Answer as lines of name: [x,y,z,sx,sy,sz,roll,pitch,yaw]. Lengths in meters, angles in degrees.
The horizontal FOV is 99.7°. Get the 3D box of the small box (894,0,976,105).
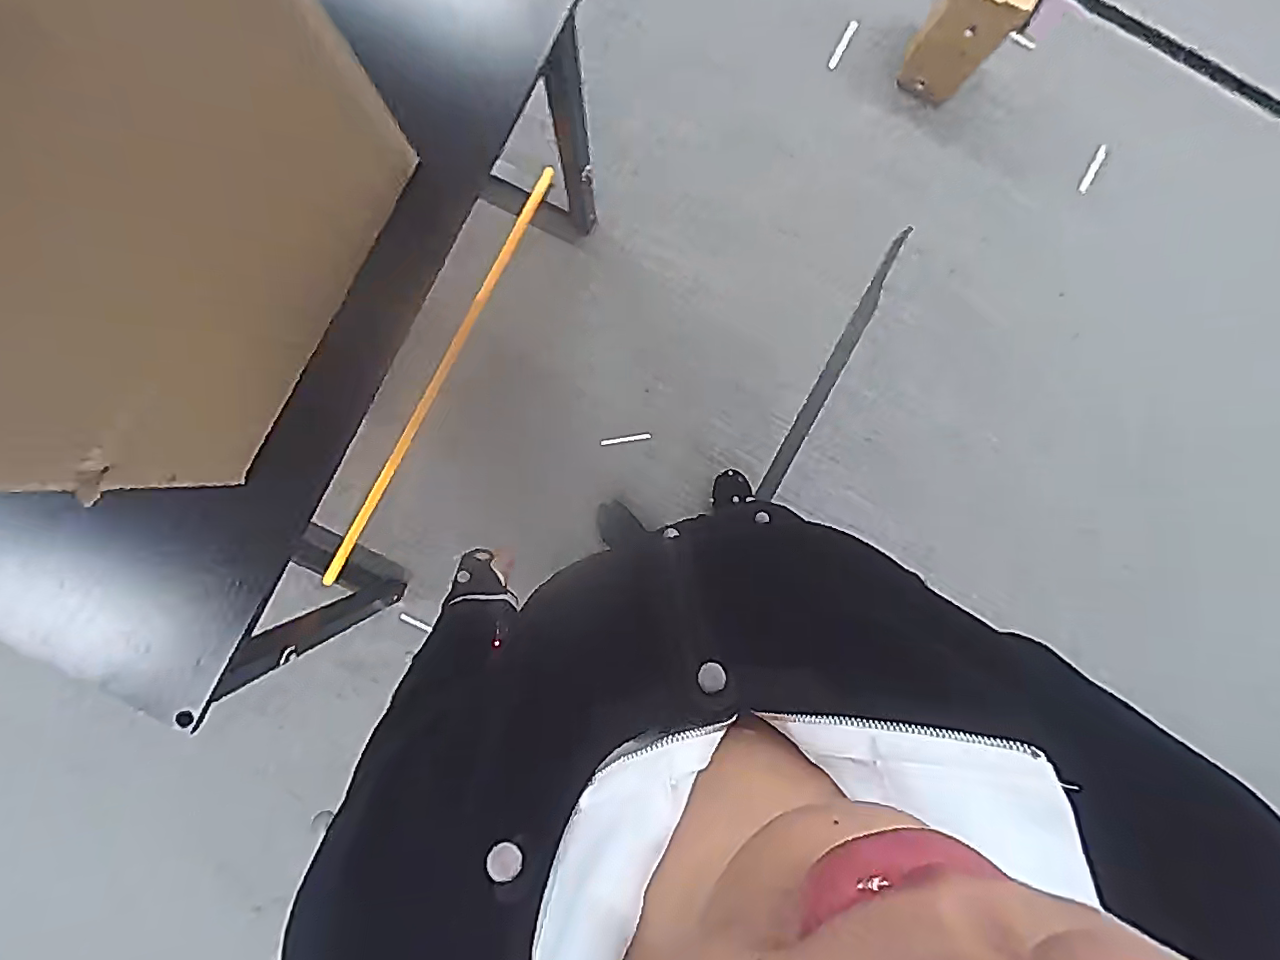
small box: [0.818,-1.168,1.447,0.168,0.176,0.179,26,90,-1]

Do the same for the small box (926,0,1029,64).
small box: [0.818,-1.151,1.283,0.168,0.176,0.179,28,90,-1]
